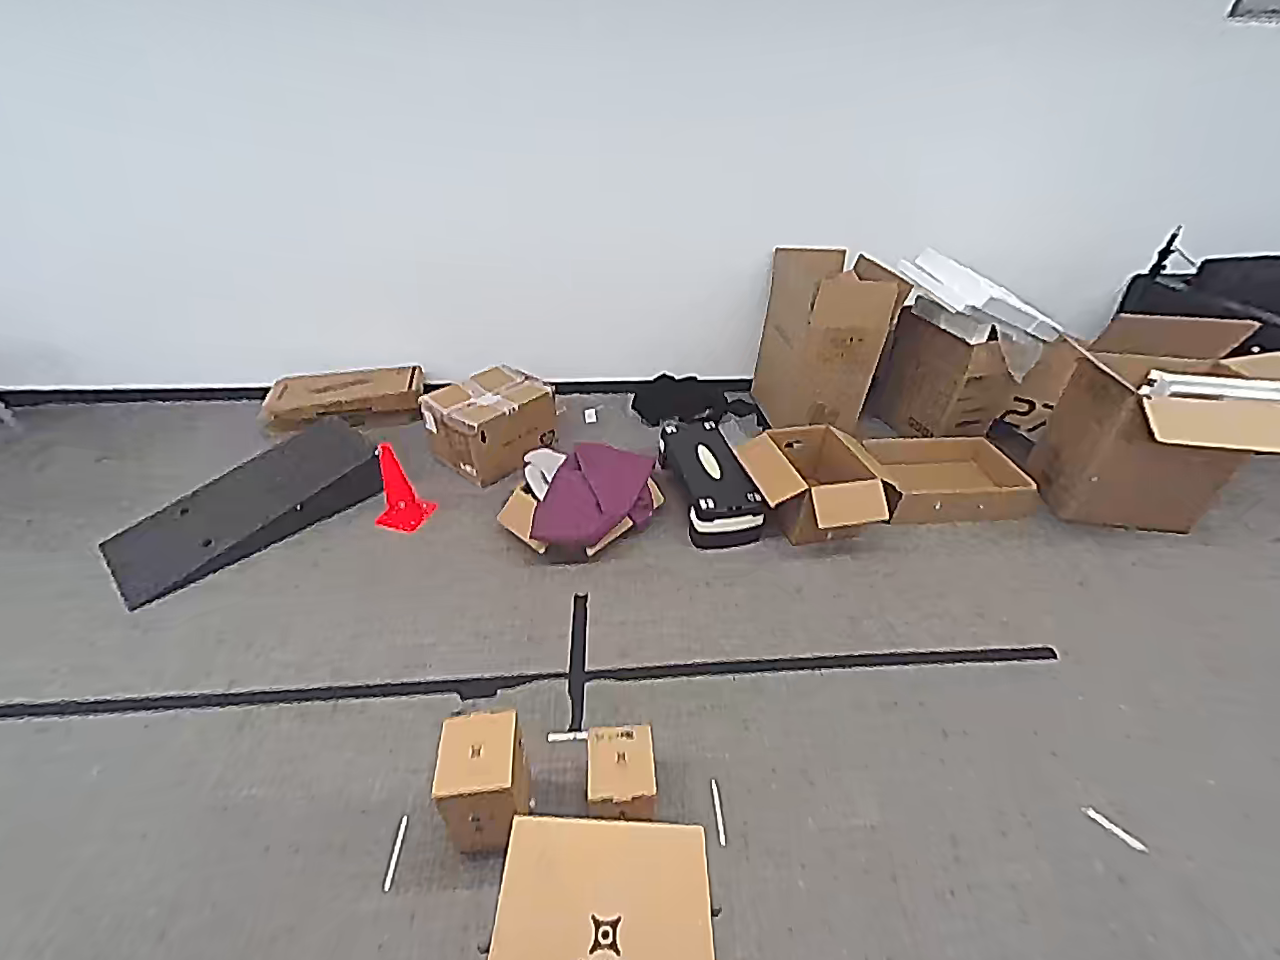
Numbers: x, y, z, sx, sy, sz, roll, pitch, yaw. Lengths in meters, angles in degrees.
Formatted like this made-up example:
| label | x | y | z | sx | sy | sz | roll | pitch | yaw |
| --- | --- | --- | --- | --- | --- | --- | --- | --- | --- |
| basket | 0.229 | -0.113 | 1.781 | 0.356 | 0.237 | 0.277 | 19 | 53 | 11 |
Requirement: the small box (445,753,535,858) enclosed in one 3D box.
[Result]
| label | x | y | z | sx | sy | sz | roll | pitch | yaw |
| --- | --- | --- | --- | --- | --- | --- | --- | --- | --- |
| small box | -0.361 | 0.803 | 1.332 | 0.179 | 0.176 | 0.168 | -3 | 37 | -5 |

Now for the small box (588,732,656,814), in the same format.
| label | x | y | z | sx | sy | sz | roll | pitch | yaw |
| --- | --- | --- | --- | --- | --- | --- | --- | --- | --- |
| small box | -0.046 | 0.774 | 1.382 | 0.168 | 0.176 | 0.179 | -2 | 37 | -4 |

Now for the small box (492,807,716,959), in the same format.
| label | x | y | z | sx | sy | sz | roll | pitch | yaw |
| --- | --- | --- | --- | --- | --- | --- | --- | --- | --- |
| small box | -0.032 | 0.405 | 0.446 | 0.168 | 0.176 | 0.179 | 4 | 34 | -2 |

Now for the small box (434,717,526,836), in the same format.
| label | x | y | z | sx | sy | sz | roll | pitch | yaw |
| --- | --- | --- | --- | --- | --- | --- | --- | --- | --- |
| small box | -0.355 | 0.674 | 1.234 | 0.168 | 0.176 | 0.179 | -6 | 38 | -6 |
